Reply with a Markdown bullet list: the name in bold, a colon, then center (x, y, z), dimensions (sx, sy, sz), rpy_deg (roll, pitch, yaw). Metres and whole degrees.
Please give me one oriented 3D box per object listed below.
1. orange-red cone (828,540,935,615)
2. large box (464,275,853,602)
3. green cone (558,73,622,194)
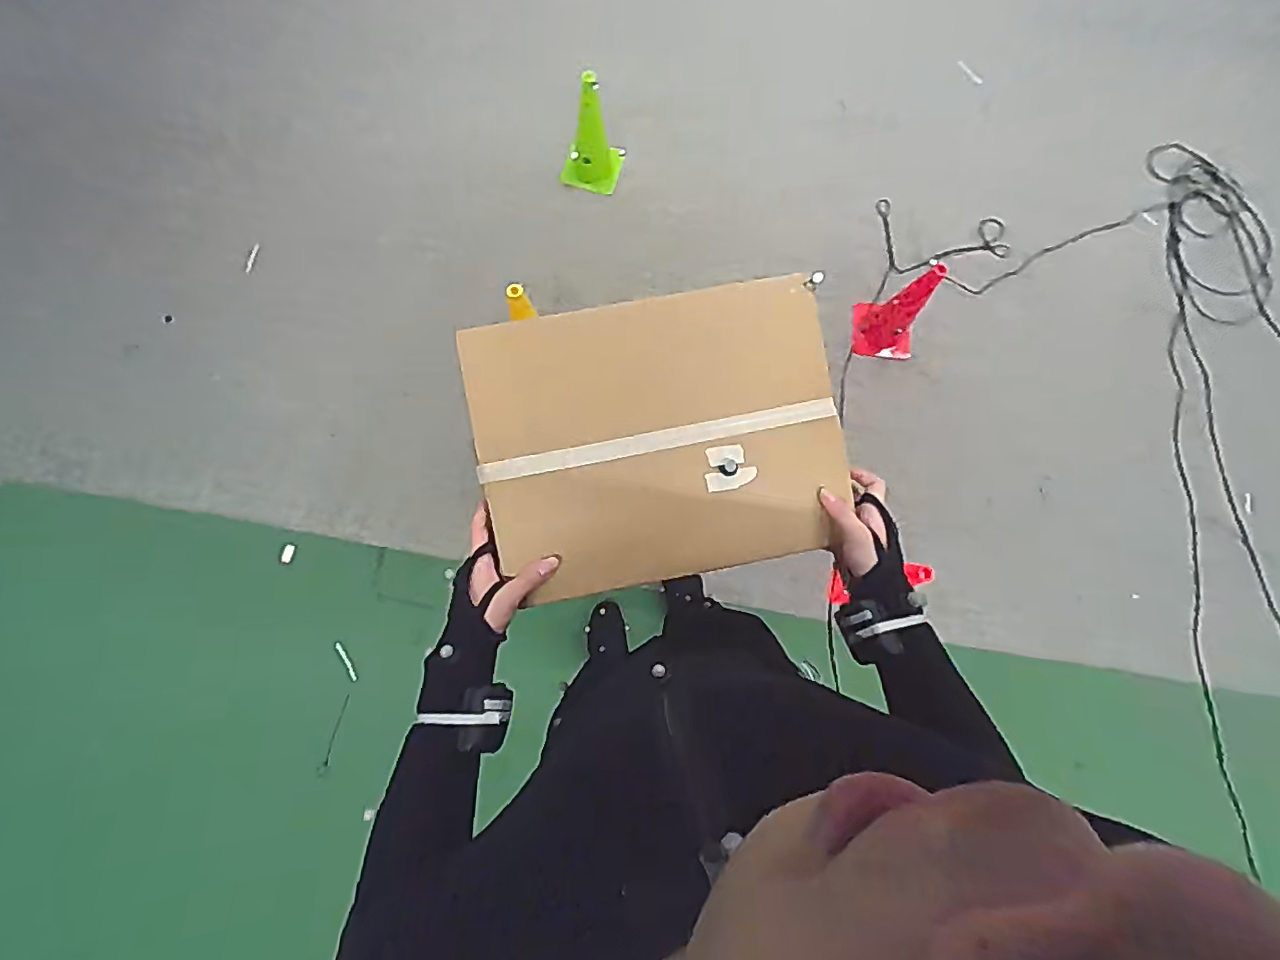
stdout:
- **orange-red cone**: center (0.706, 0.268, 1.511), dimensions (0.199, 0.360, 0.198), rpy_deg (17, 78, 0)
- **large box**: center (0.014, -0.049, 0.760), dimensions (0.408, 0.320, 0.320), rpy_deg (-11, 91, -4)
- **green cone**: center (-0.176, -1.183, 1.807), dimensions (0.200, 0.368, 0.202), rpy_deg (15, 78, 1)
